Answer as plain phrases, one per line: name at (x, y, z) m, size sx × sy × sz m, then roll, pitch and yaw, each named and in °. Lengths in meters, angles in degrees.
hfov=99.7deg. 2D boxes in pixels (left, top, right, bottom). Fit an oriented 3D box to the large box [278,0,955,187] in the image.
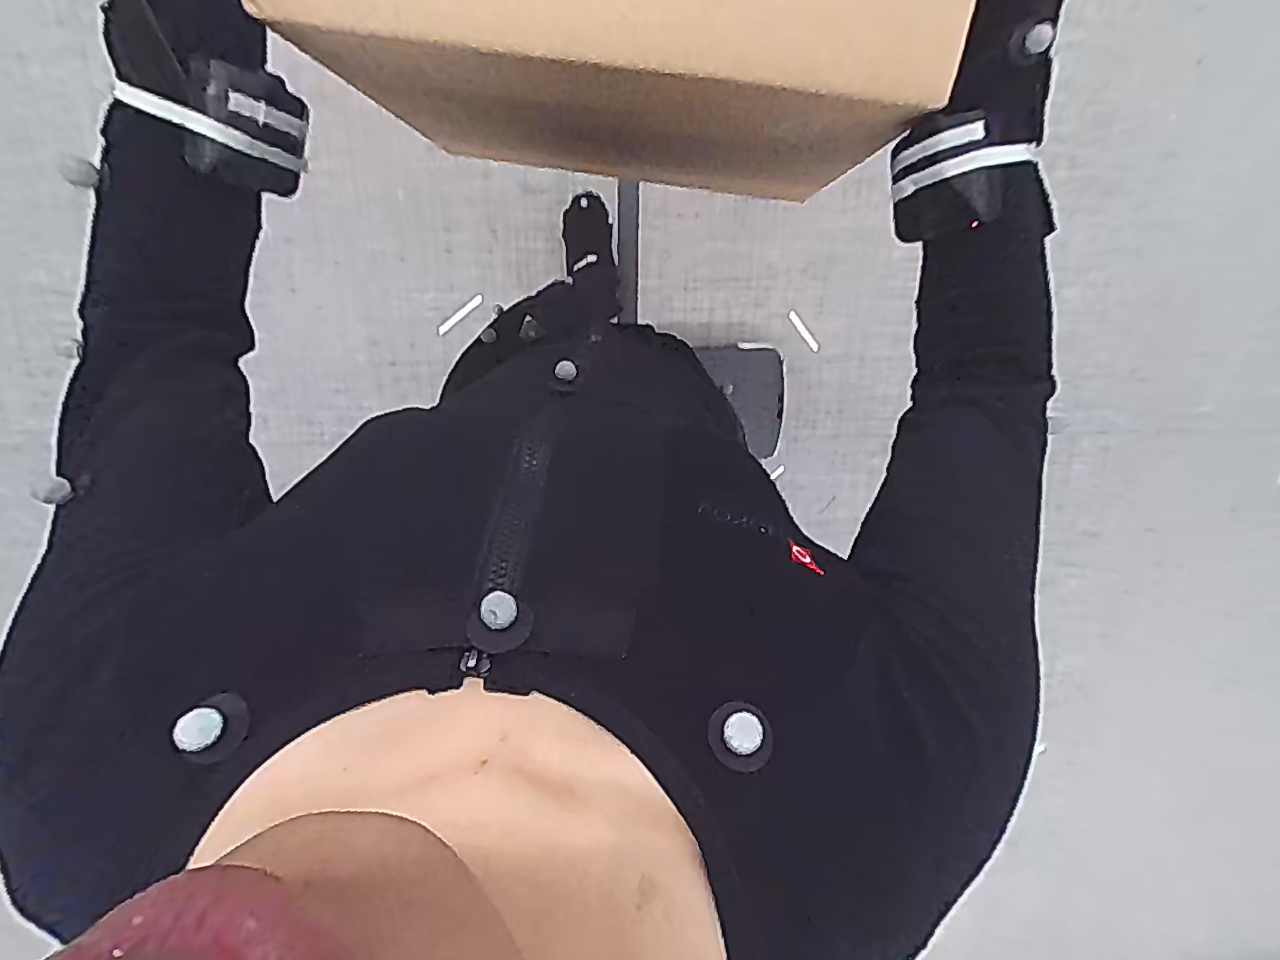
large box at (-0.002, -0.446, 0.418) m, size 0.408 × 0.320 × 0.320 m, roll 7°, pitch 108°, yaw -1°
